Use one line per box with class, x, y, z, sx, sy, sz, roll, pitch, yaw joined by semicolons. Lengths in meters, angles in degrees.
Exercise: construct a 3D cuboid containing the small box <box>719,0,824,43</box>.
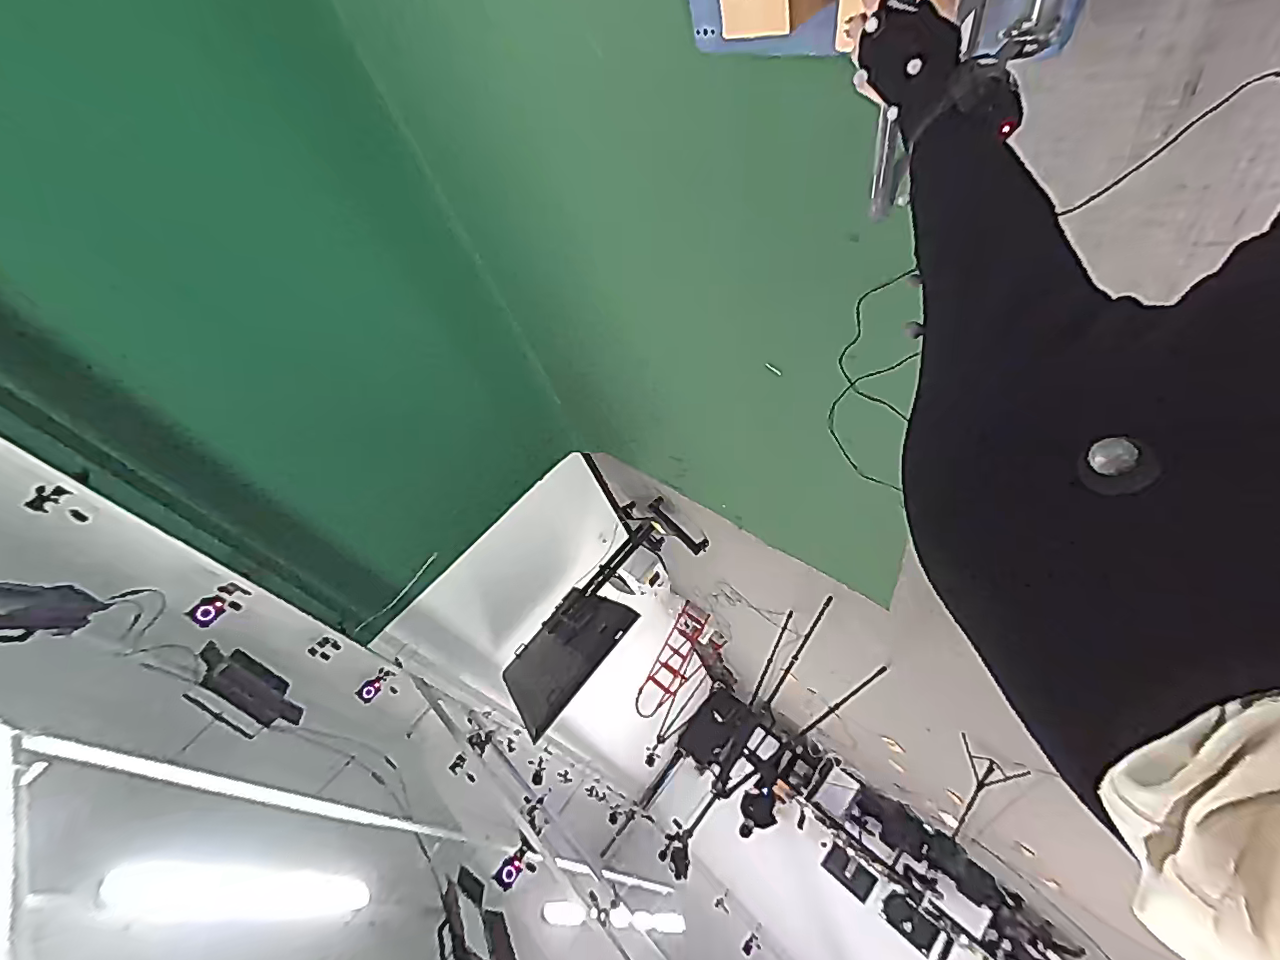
small box;0.284;-1.068;1.150;0.179;0.176;0.168;30;157;35
